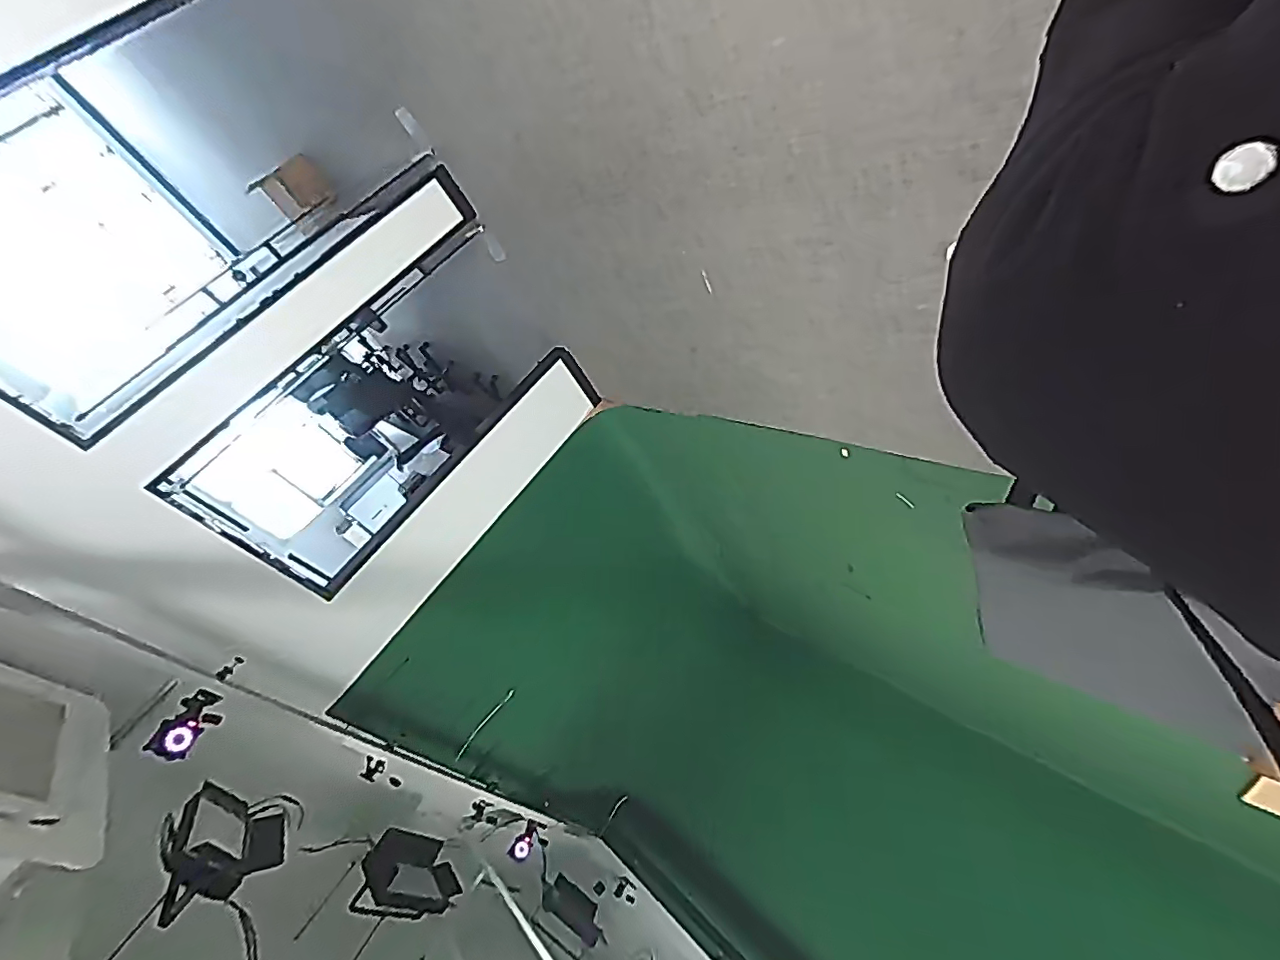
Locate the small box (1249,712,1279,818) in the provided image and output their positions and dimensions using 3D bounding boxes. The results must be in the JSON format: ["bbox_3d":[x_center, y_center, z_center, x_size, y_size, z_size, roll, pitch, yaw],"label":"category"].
[{"bbox_3d":[1.351,0.589,1.062,0.168,0.176,0.179,16,149,46],"label":"small box"}]
